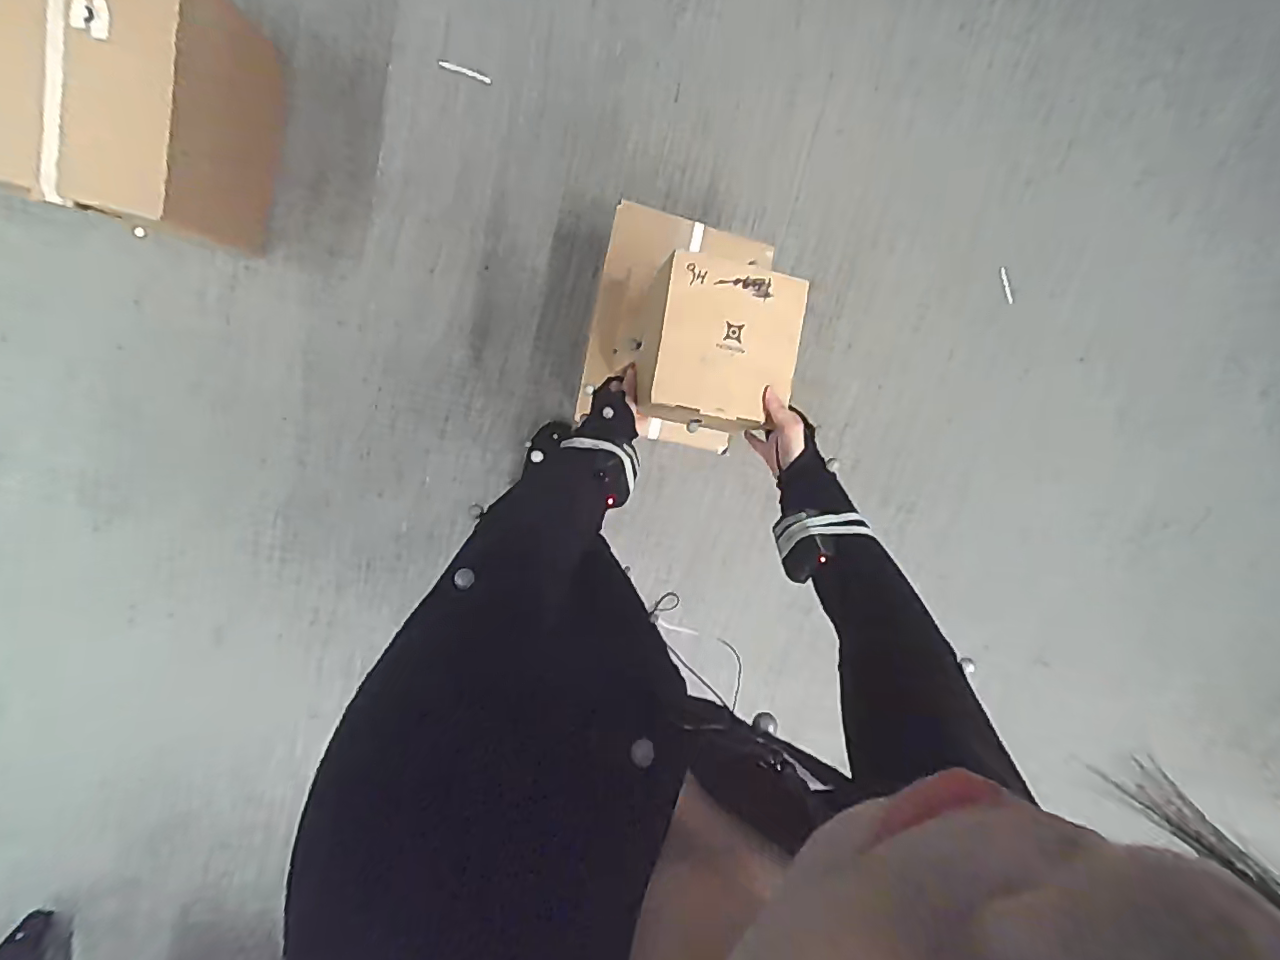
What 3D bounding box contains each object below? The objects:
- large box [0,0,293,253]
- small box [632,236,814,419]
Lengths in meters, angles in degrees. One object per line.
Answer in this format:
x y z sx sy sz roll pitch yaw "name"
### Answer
-0.888 -0.684 0.989 0.320 0.320 0.408 11 99 -9 "large box"
0.092 -0.176 0.688 0.168 0.176 0.179 10 93 -12 "small box"
